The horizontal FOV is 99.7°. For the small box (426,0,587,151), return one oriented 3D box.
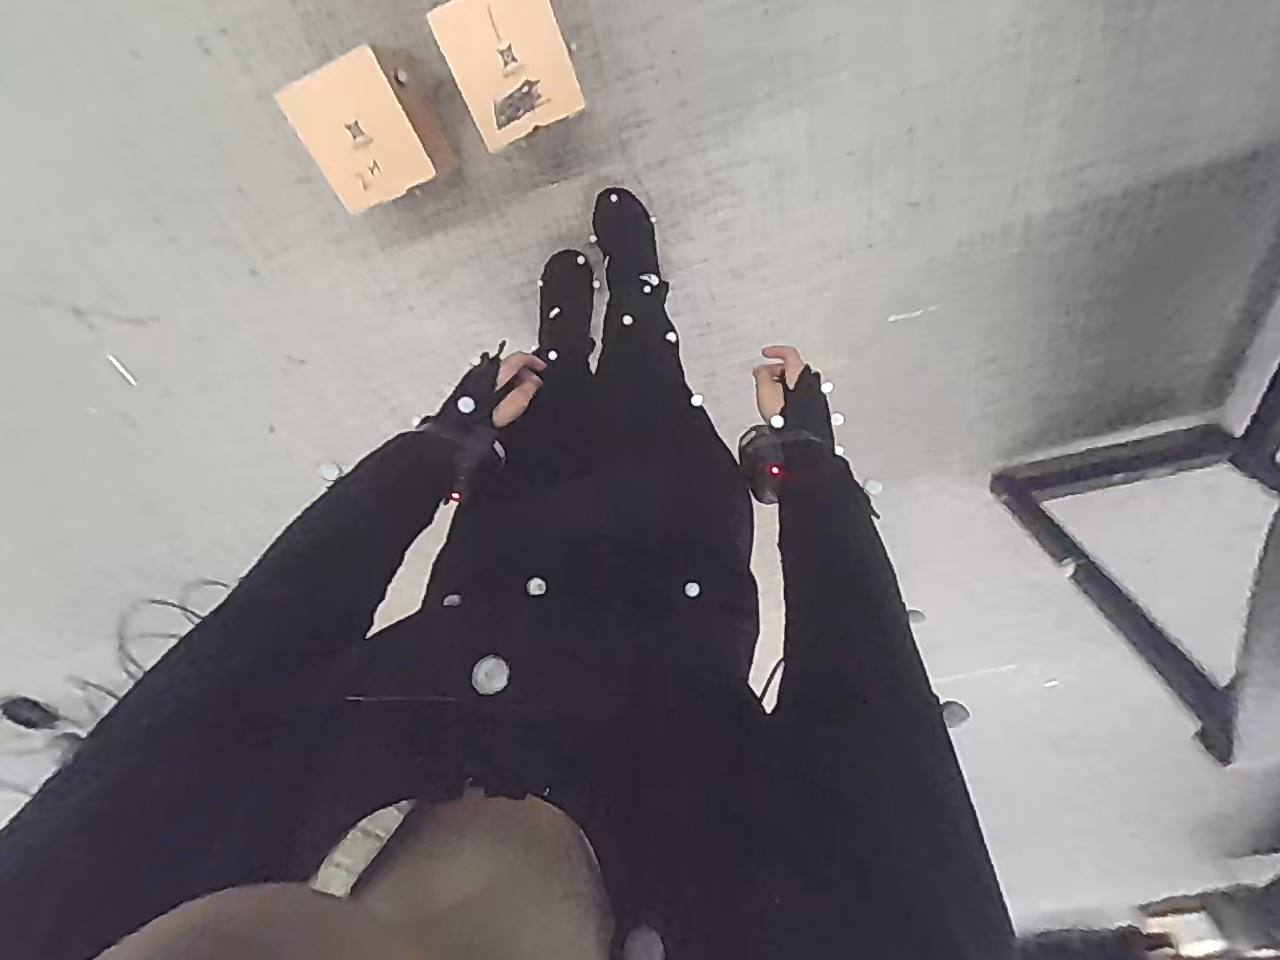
[{"bbox_3d":[-0.187,-0.638,0.826,0.168,0.176,0.179,-18,125,10],"label":"small box"}]

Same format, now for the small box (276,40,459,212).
[{"bbox_3d":[-0.421,-0.564,0.870,0.168,0.176,0.179,-18,126,11],"label":"small box"}]
